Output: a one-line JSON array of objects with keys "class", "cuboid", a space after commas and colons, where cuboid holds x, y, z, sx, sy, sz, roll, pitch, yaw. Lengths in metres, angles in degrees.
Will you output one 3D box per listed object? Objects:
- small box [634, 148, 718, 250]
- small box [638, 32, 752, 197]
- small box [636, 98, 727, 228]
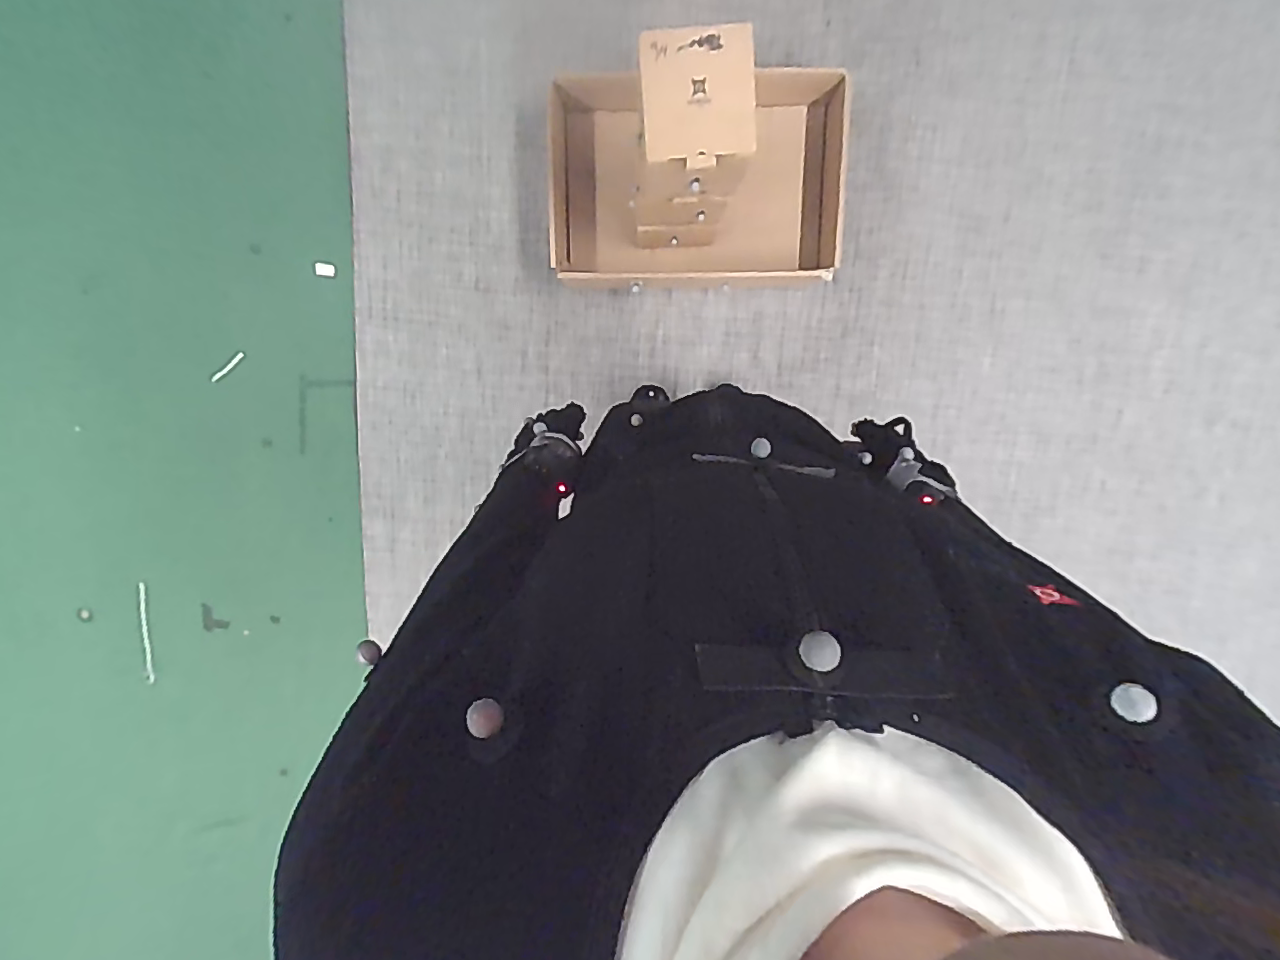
[{"class": "small box", "cuboid": [0.076, -0.613, 1.190, 0.179, 0.176, 0.168, 0, 100, 3]}, {"class": "small box", "cuboid": [0.083, -0.570, 0.868, 0.168, 0.176, 0.179, -2, 101, 0]}, {"class": "small box", "cuboid": [0.076, -0.593, 1.030, 0.168, 0.176, 0.179, 0, 99, -1]}]
